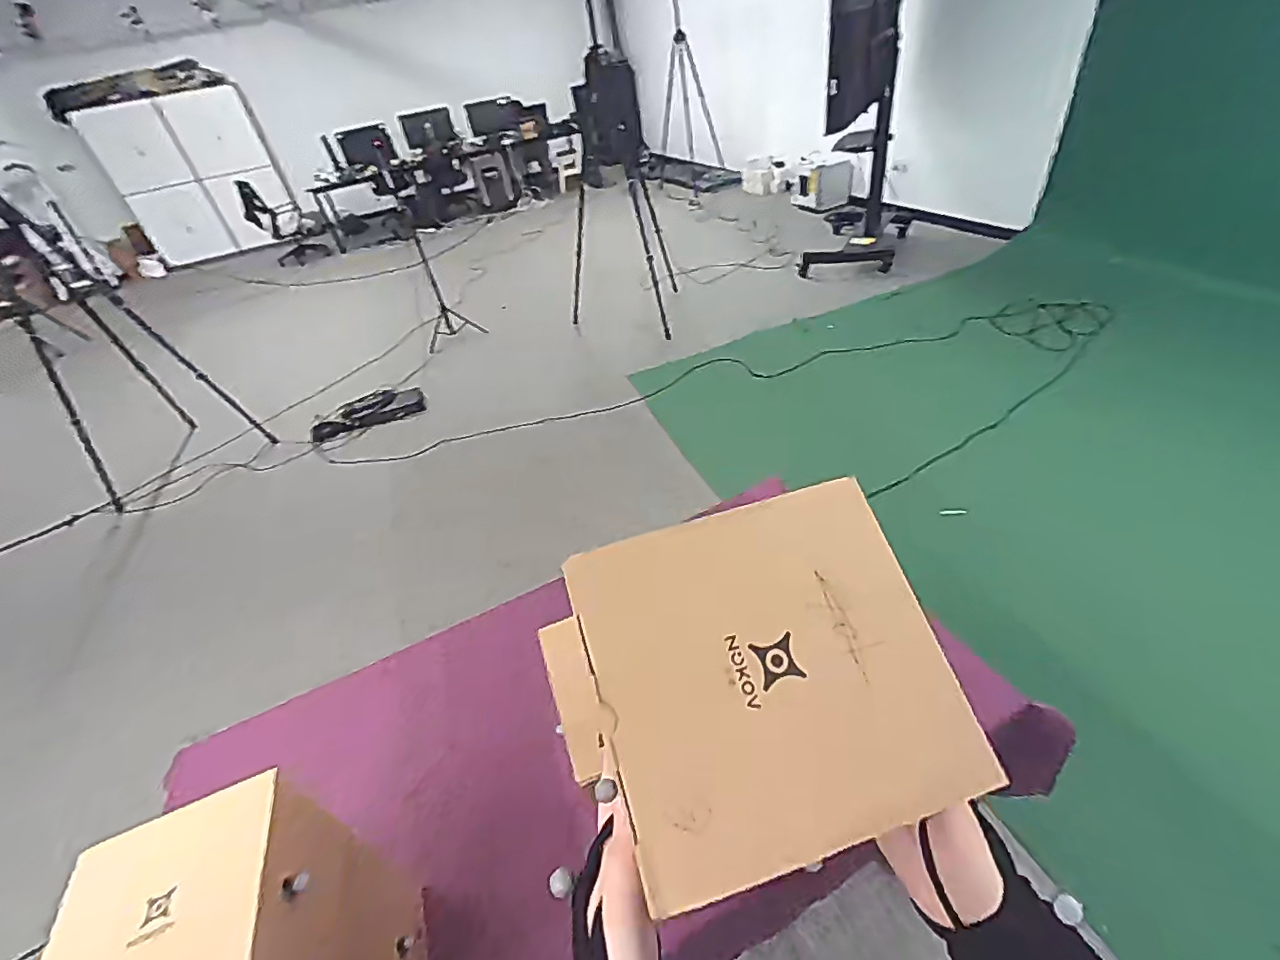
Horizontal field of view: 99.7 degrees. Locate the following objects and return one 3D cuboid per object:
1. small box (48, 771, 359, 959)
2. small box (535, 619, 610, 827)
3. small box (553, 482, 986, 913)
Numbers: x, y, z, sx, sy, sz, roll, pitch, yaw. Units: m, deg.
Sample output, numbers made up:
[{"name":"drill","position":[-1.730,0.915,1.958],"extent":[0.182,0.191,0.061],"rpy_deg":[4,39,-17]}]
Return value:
[{"name":"small box","position":[-0.376,0.414,0.489],"extent":[0.168,0.176,0.179],"rpy_deg":[-21,40,-12]},{"name":"small box","position":[0.001,0.246,0.591],"extent":[0.168,0.176,0.179],"rpy_deg":[-20,39,-10]},{"name":"small box","position":[0.057,0.125,0.344],"extent":[0.179,0.176,0.168],"rpy_deg":[-15,69,-8]}]
